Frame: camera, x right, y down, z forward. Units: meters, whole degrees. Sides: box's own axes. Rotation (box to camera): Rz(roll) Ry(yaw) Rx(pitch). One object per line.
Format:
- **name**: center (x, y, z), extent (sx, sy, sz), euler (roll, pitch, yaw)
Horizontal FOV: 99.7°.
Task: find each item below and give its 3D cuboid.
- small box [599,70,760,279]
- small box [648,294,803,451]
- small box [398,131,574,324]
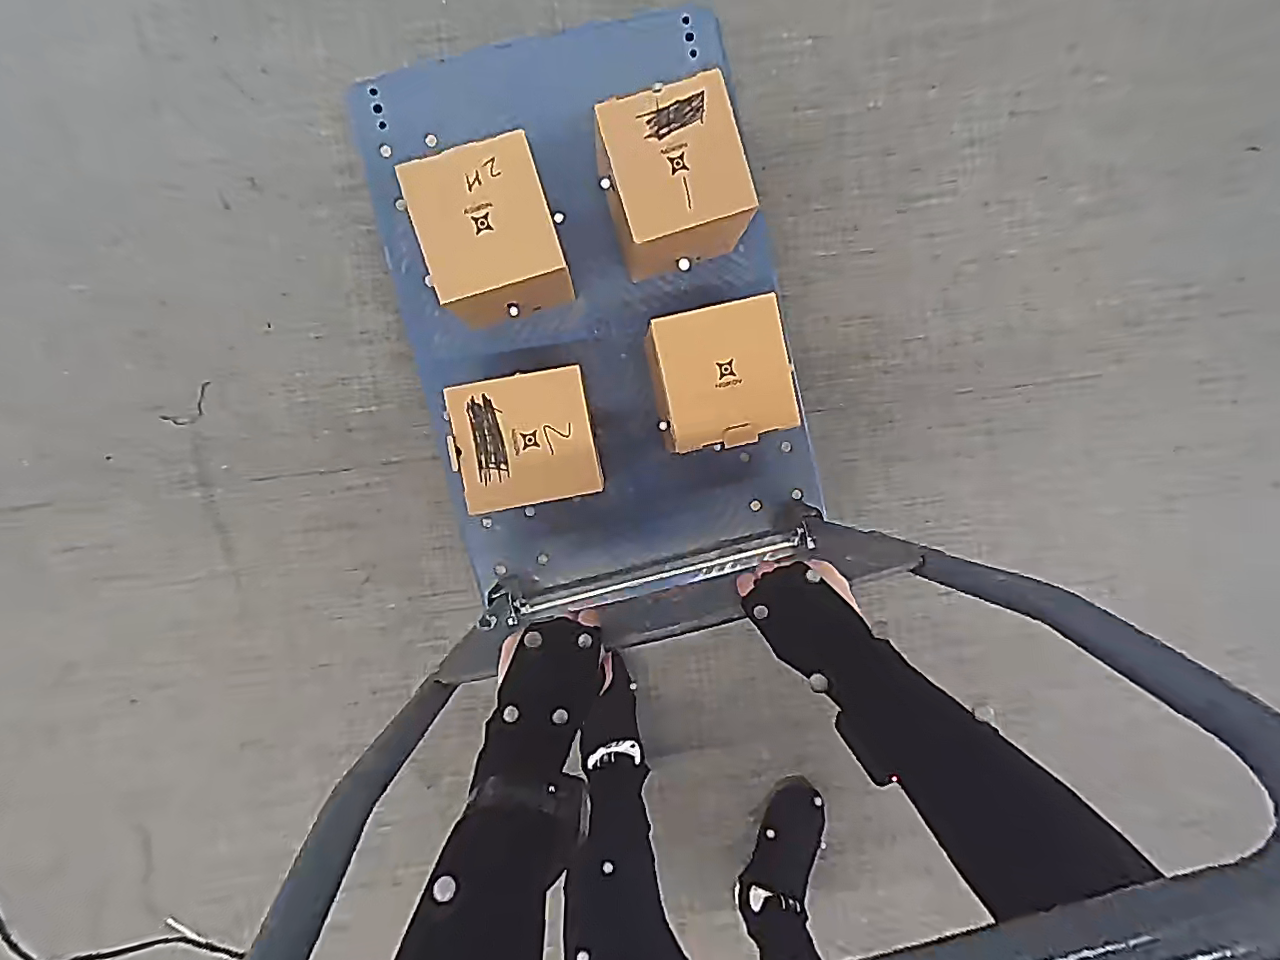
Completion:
- **small box**: center (0.046, -0.404, 0.745), extent (0.168, 0.176, 0.179), euler (-17, 96, 0)
- **small box**: center (0.110, -0.141, 0.768), extent (0.168, 0.176, 0.179), euler (-13, 95, -1)
- **small box**: center (-0.195, -0.326, 0.741), extent (0.168, 0.176, 0.179), euler (-17, 95, -2)
